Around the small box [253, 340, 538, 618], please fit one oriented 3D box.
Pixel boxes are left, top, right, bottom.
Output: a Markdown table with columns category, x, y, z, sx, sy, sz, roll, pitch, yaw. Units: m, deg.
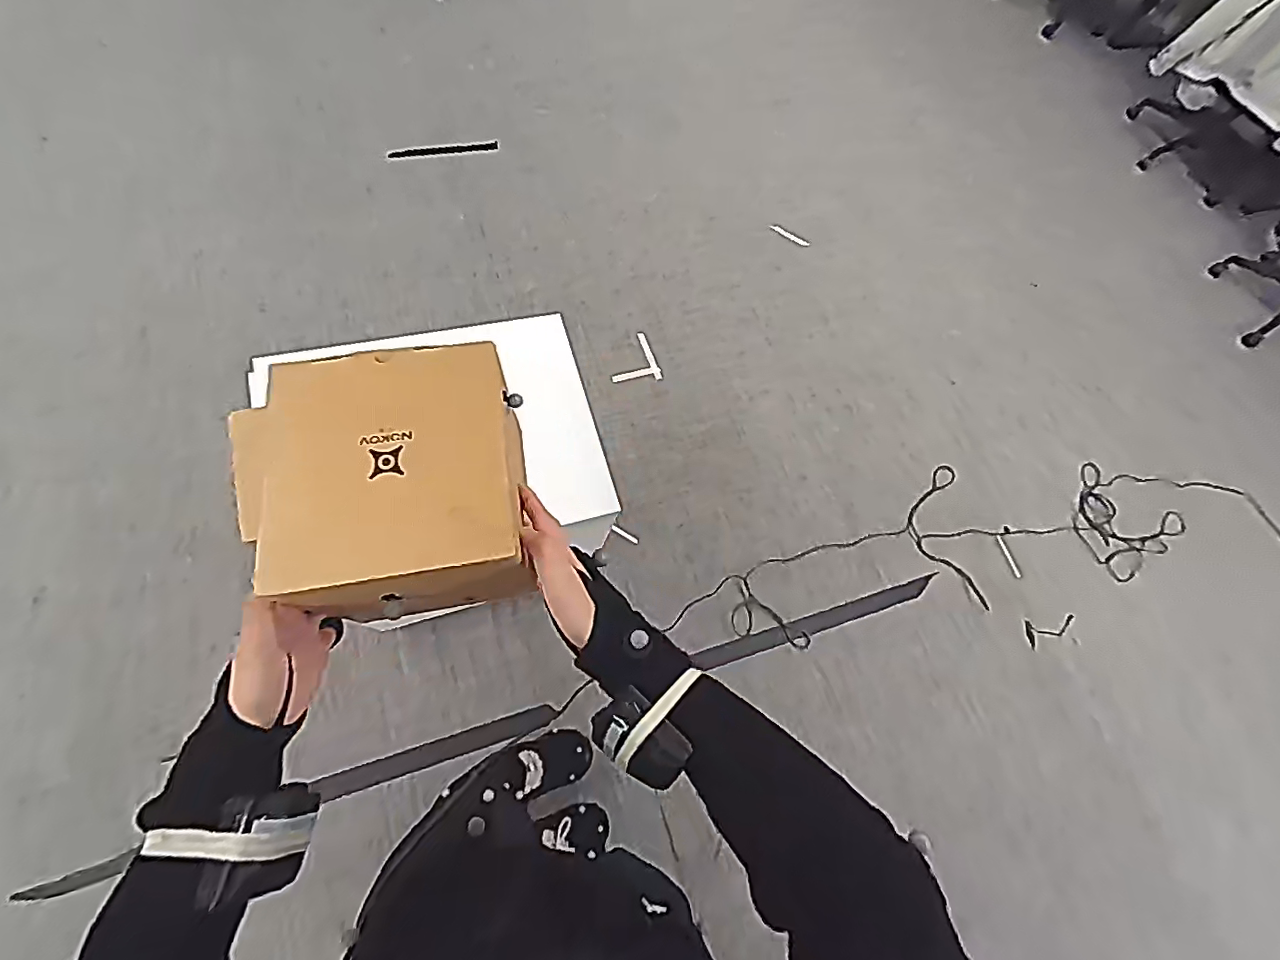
| category | x | y | z | sx | sy | sz | roll | pitch | yaw |
| --- | --- | --- | --- | --- | --- | --- | --- | --- | --- |
| small box | -0.184 | 0.012 | 0.451 | 0.168 | 0.176 | 0.179 | -9 | 70 | -8 |

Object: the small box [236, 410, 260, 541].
| category | x | y | z | sx | sy | sz | roll | pitch | yaw |
| --- | --- | --- | --- | --- | --- | --- | --- | --- | --- |
| small box | -0.415 | 0.009 | 0.738 | 0.168 | 0.176 | 0.179 | -14 | 71 | -16 |
